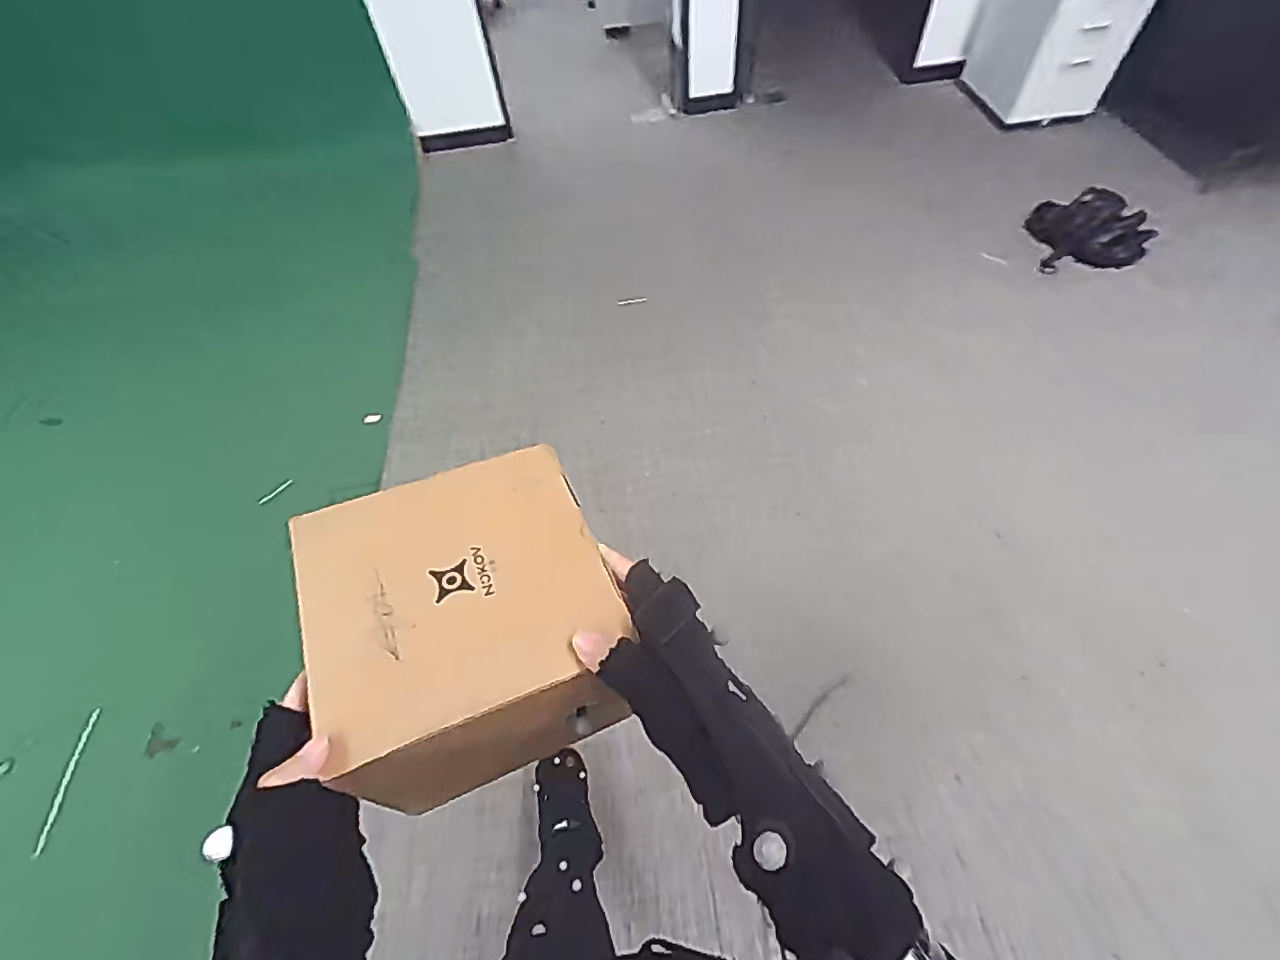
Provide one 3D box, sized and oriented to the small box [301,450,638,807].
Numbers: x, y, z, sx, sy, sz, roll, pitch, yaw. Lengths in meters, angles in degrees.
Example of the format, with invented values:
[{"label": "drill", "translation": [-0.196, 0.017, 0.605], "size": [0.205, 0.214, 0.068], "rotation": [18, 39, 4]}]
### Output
[{"label": "small box", "translation": [-0.114, 0.111, 0.399], "size": [0.179, 0.176, 0.168], "rotation": [-19, 55, -16]}]
